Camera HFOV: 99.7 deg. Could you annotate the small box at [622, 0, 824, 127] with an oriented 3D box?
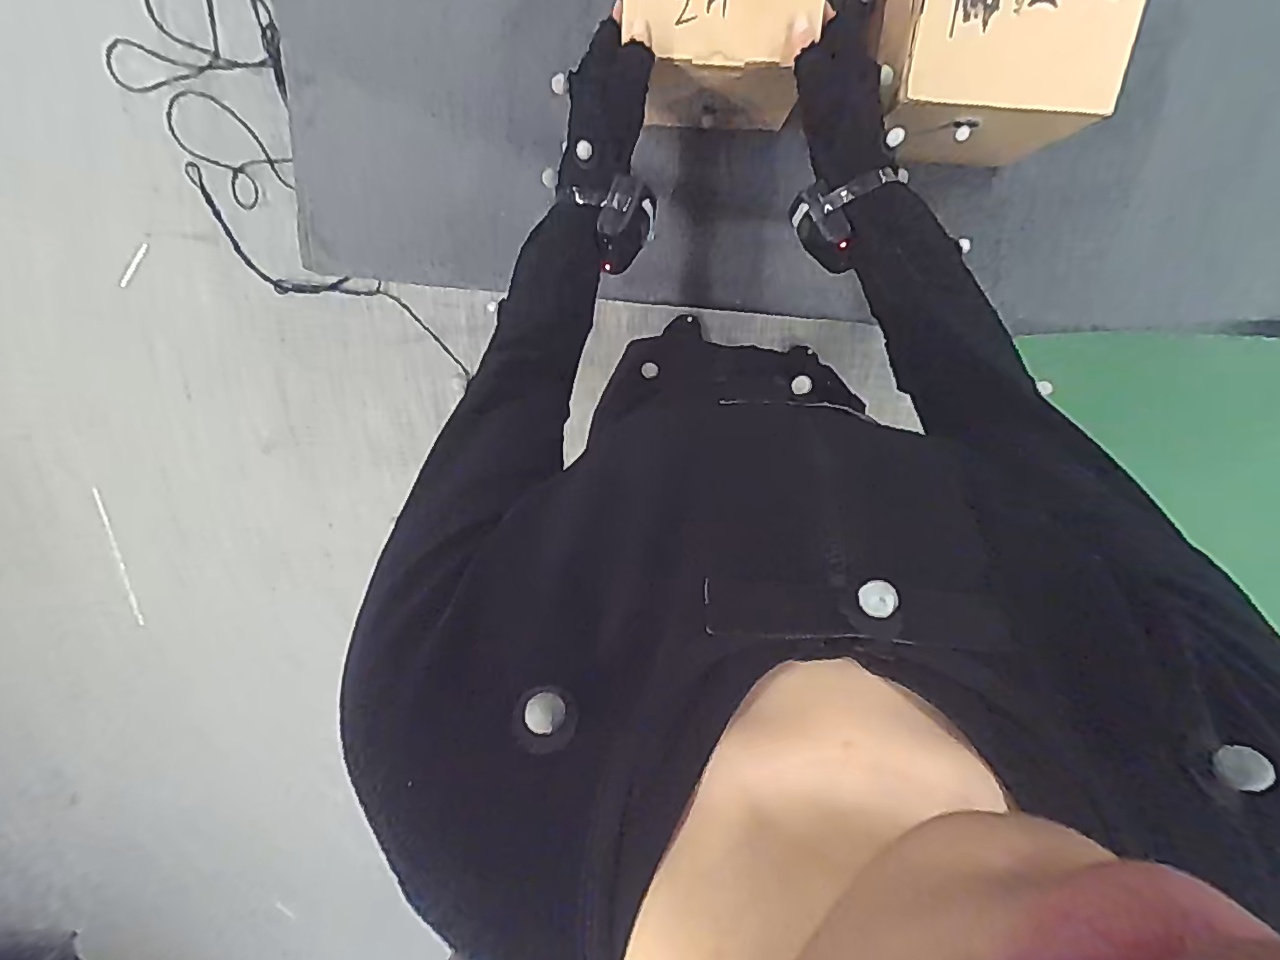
[{"bbox_3d":[0.075,-0.459,0.502,0.168,0.176,0.179,4,108,3],"label":"small box"}]
